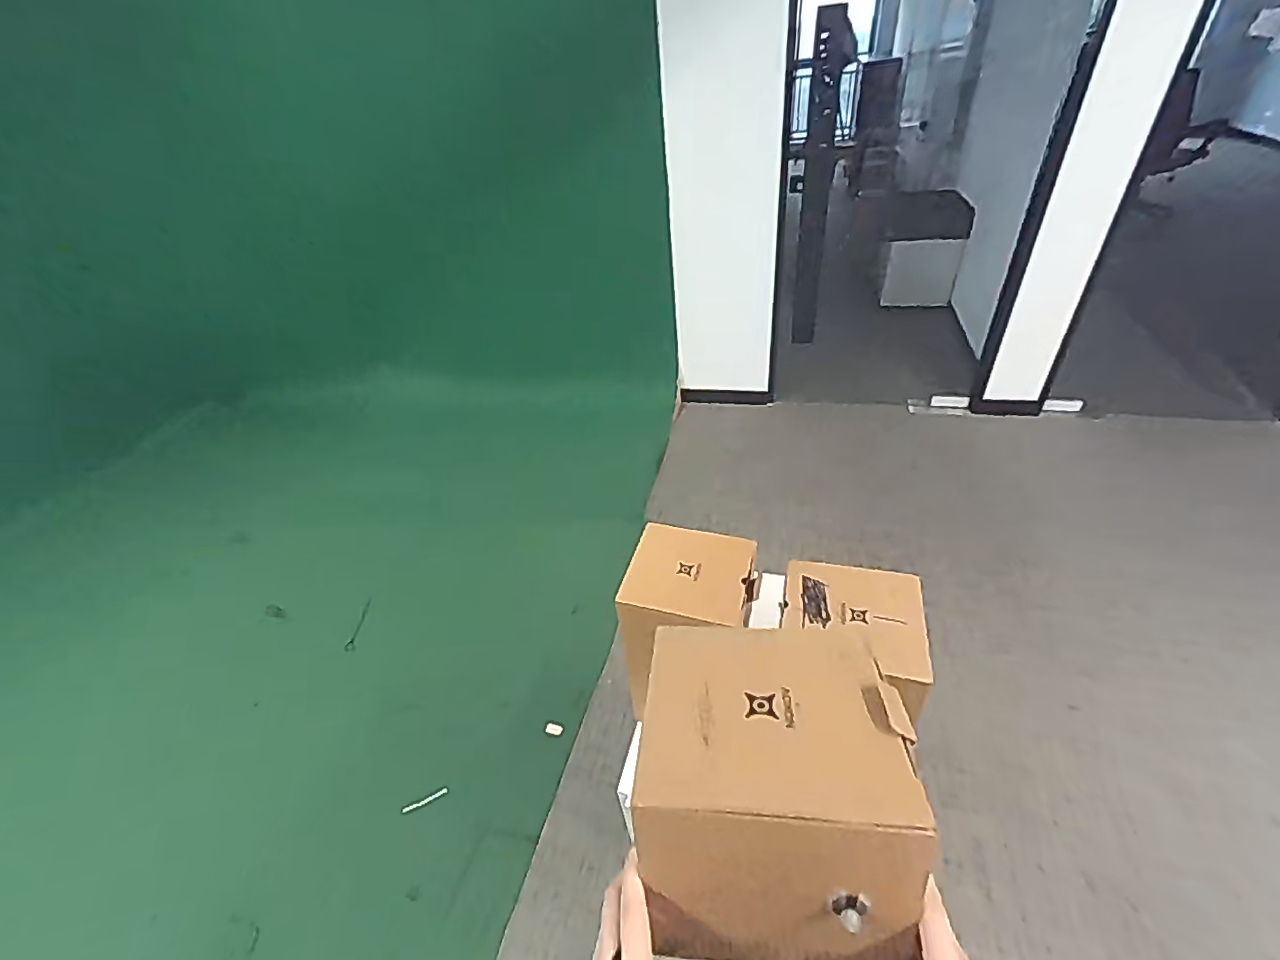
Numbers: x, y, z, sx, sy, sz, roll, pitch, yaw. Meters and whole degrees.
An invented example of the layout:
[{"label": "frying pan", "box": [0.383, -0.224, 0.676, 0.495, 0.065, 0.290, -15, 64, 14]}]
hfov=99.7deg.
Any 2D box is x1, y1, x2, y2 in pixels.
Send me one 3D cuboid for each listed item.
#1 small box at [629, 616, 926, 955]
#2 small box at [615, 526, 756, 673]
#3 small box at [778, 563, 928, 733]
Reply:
[{"label": "small box", "box": [0.095, 0.228, 0.424, 0.179, 0.176, 0.168, -2, 24, 9]}, {"label": "small box", "box": [0.075, 0.198, 0.837, 0.179, 0.176, 0.168, 9, 40, 15]}, {"label": "small box", "box": [0.280, 0.242, 0.750, 0.179, 0.176, 0.168, 6, 39, 17]}]
